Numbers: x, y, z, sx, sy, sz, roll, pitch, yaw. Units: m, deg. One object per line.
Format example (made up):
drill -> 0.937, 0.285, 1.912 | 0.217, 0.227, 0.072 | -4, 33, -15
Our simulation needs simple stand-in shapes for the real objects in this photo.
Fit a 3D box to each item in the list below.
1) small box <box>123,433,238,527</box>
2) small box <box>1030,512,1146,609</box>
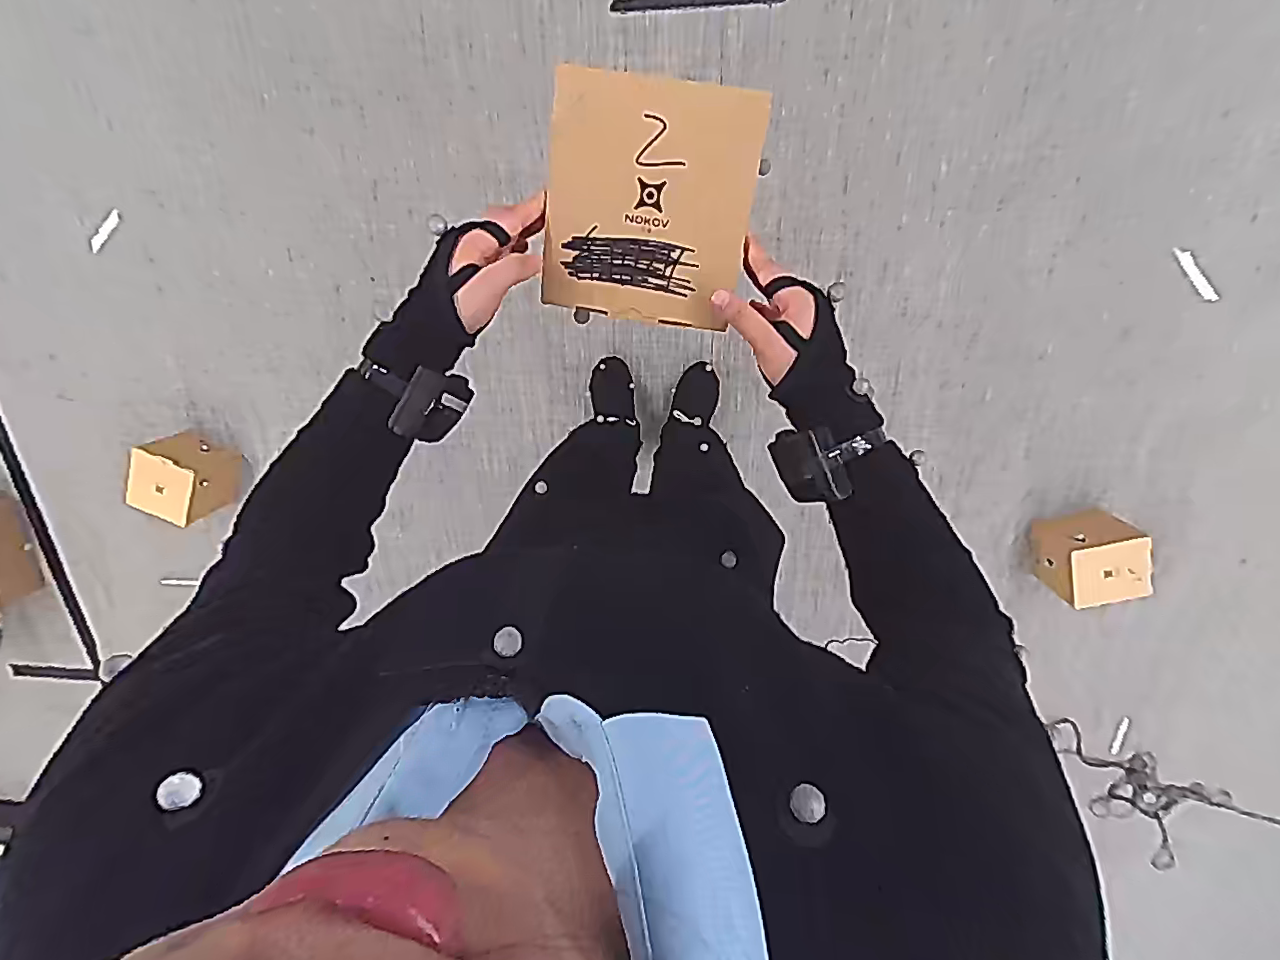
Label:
small box -> -1.248, -0.005, 1.477 | 0.168, 0.176, 0.179 | 25, 109, -4
small box -> 1.129, 0.200, 1.377 | 0.179, 0.176, 0.168 | -14, 107, 8
